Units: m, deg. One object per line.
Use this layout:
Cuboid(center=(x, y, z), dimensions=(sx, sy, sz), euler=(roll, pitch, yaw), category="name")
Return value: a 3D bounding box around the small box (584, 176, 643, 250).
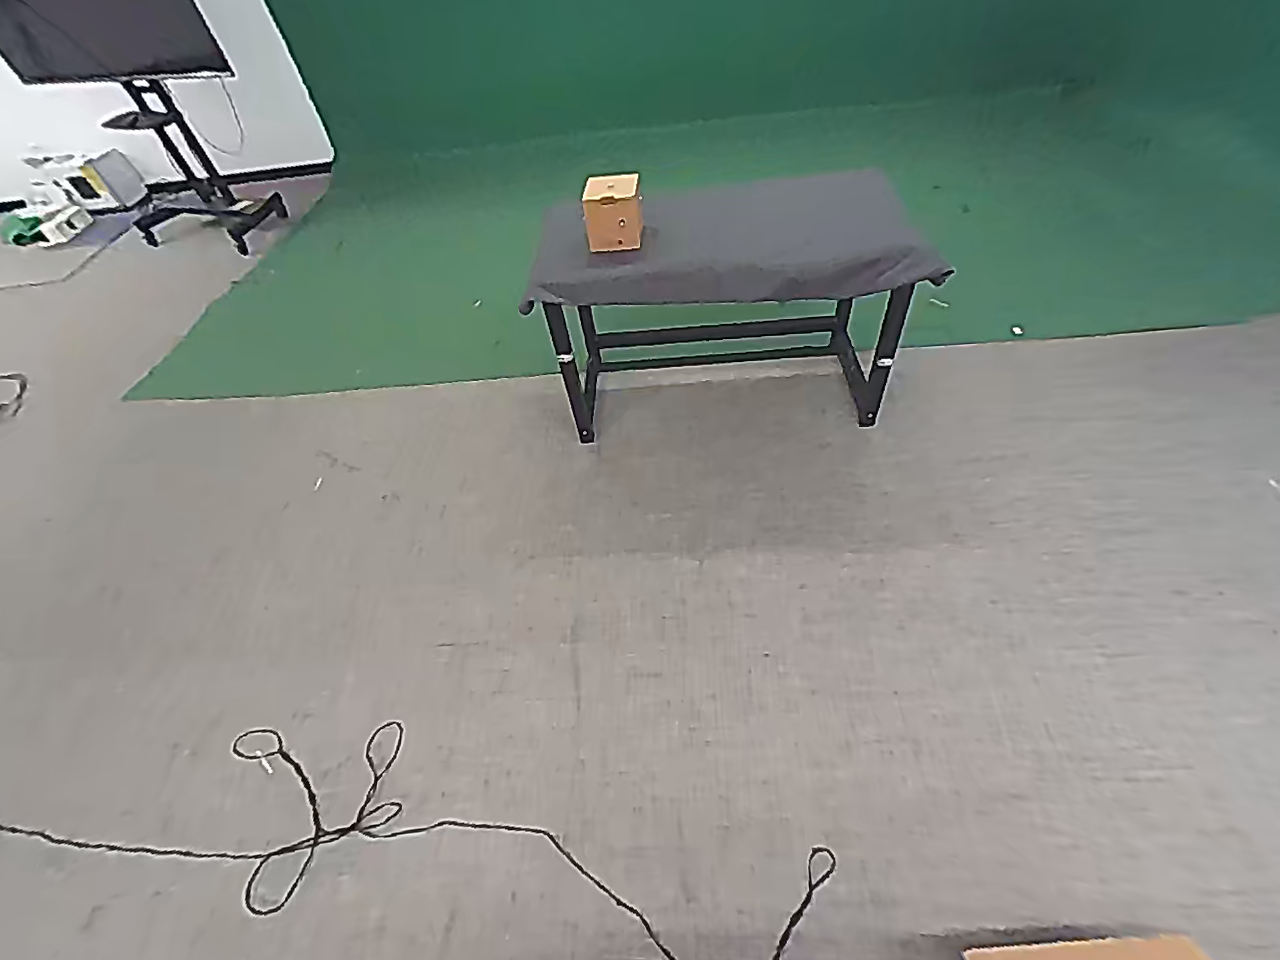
Cuboid(center=(-0.080, -0.867, 1.765), dimensions=(0.168, 0.176, 0.179), euler=(0, 49, 5), category="small box")
